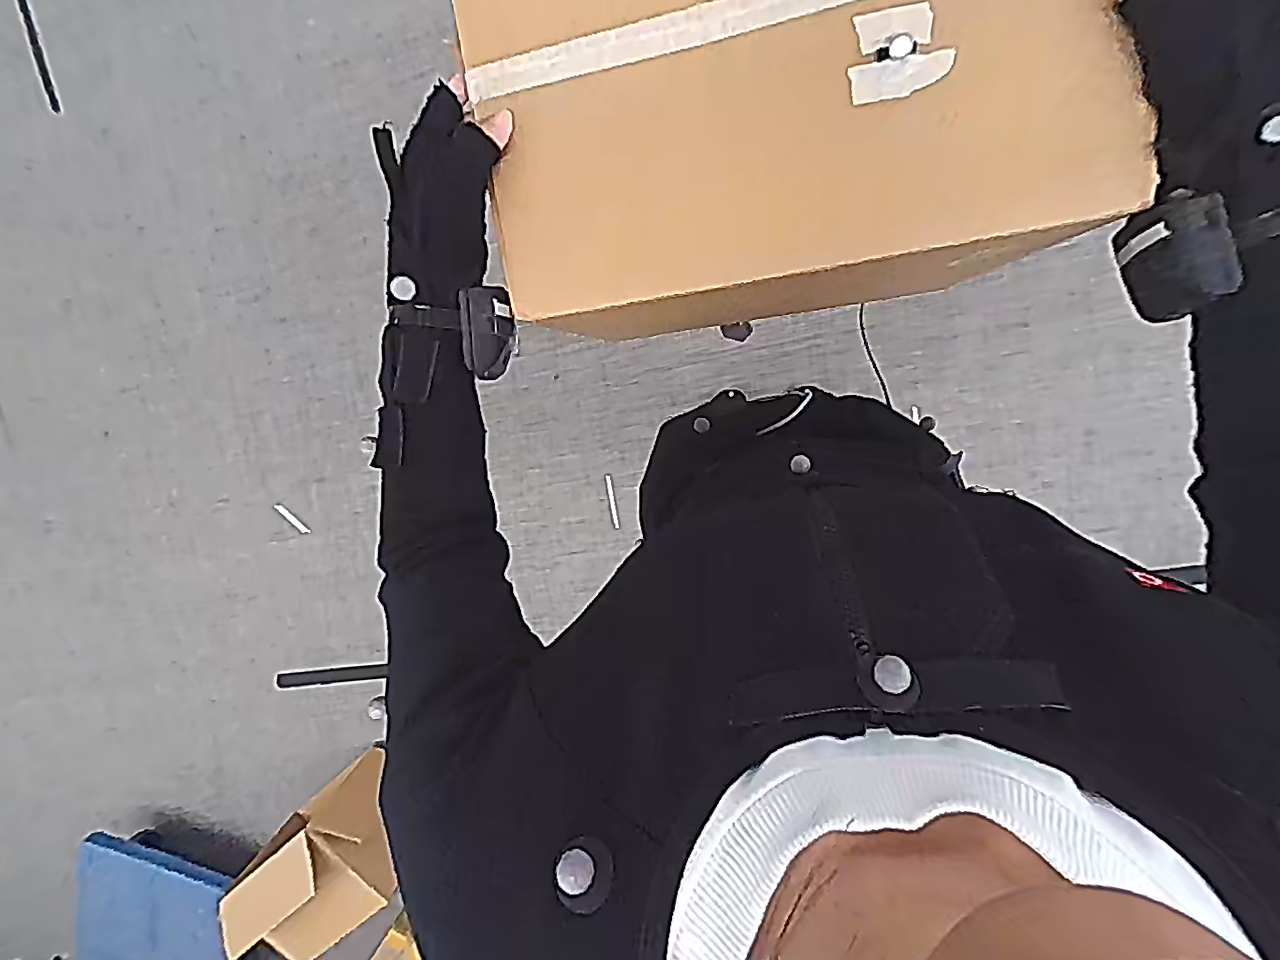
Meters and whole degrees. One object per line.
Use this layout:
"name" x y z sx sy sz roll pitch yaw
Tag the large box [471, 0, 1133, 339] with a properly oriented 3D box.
"large box" 0.107 -0.326 0.487 0.408 0.320 0.320 -7 101 10
